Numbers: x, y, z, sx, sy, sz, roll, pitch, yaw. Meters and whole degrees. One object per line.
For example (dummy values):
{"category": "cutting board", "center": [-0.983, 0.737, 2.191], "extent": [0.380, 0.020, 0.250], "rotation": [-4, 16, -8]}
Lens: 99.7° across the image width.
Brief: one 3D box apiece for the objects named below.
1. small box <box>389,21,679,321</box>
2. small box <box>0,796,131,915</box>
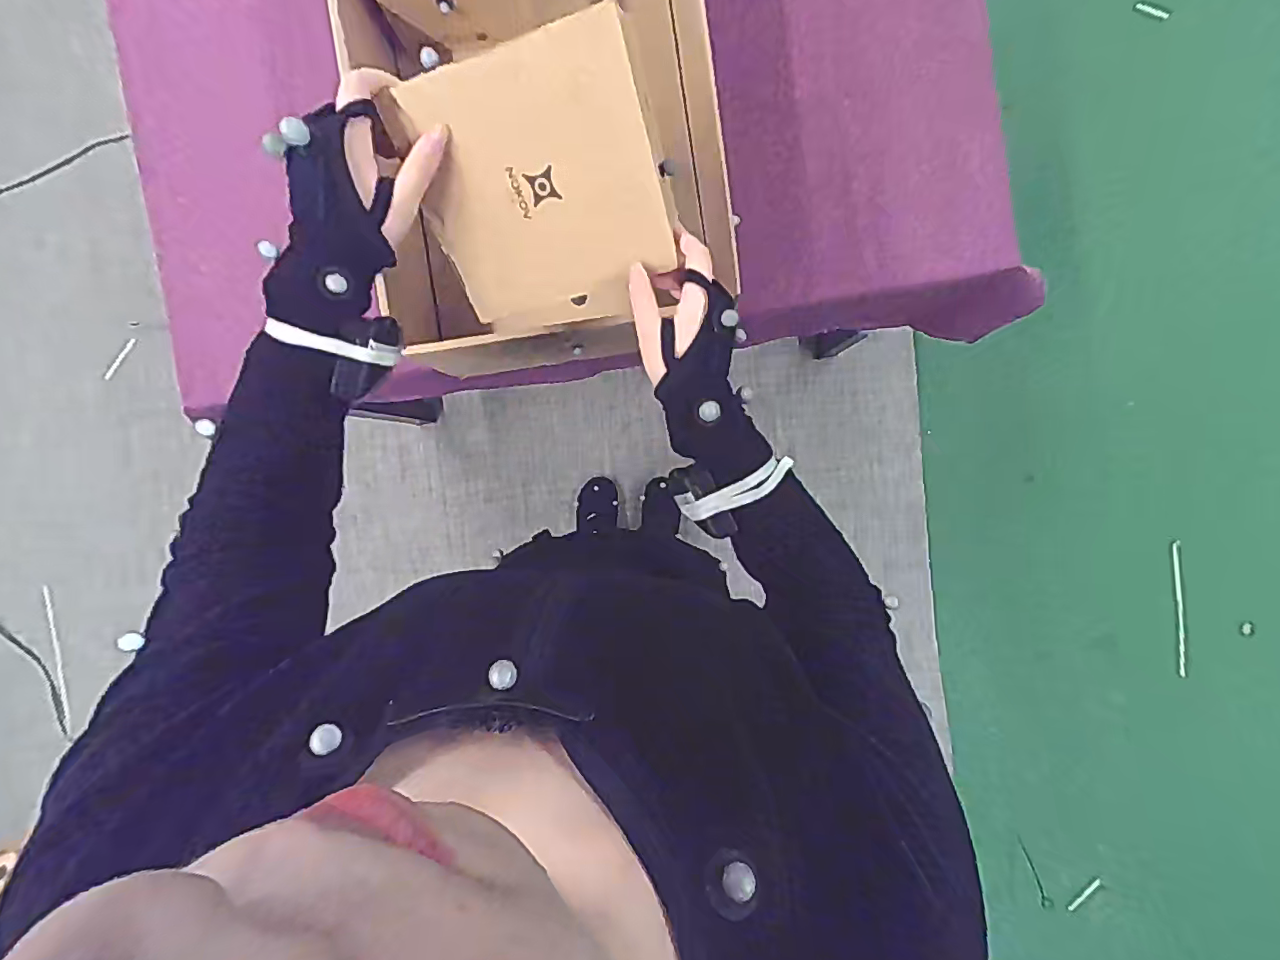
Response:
{"category": "small box", "center": [-0.068, -0.264, 0.469], "extent": [0.179, 0.176, 0.168], "rotation": [-10, 125, 14]}
{"category": "small box", "center": [-1.481, 0.946, 1.385], "extent": [0.168, 0.176, 0.179], "rotation": [-19, 93, 4]}
